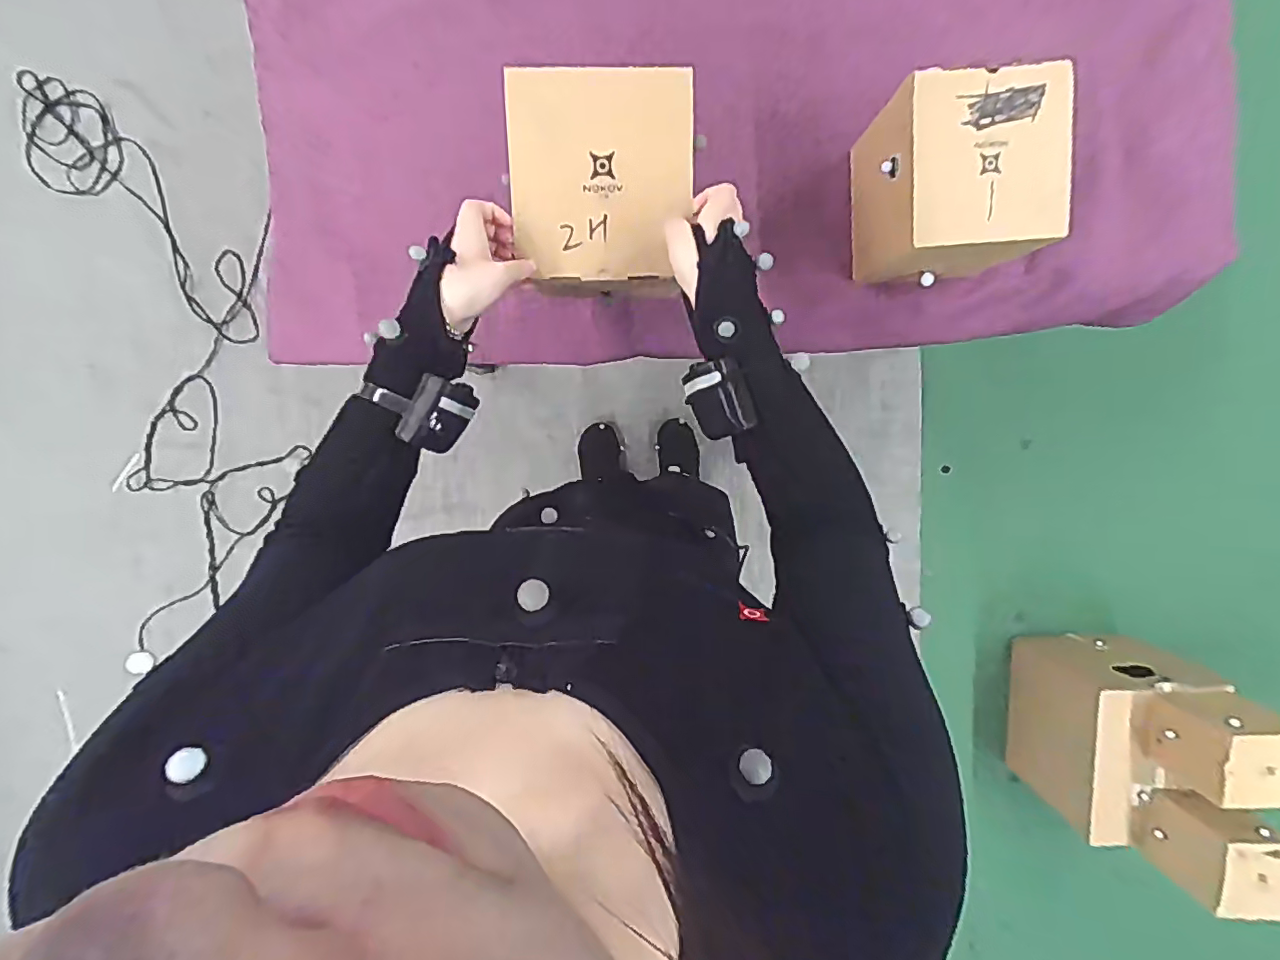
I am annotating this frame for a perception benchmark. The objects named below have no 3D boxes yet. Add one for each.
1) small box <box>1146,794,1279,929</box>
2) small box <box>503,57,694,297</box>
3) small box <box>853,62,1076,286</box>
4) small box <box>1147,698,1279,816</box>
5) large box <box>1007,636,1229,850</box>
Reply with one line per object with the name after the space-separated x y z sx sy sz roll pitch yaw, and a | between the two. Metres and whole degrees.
1.278 0.835 1.193 0.168 0.176 0.179 3 97 -1 | small box
-0.039 -0.290 0.554 0.168 0.176 0.179 -1 103 -1 | small box
0.360 -0.340 0.632 0.168 0.176 0.179 -3 97 1 | small box
1.264 0.588 1.165 0.179 0.176 0.168 -2 98 0 | small box
1.218 0.665 1.419 0.320 0.320 0.408 -2 98 1 | large box
